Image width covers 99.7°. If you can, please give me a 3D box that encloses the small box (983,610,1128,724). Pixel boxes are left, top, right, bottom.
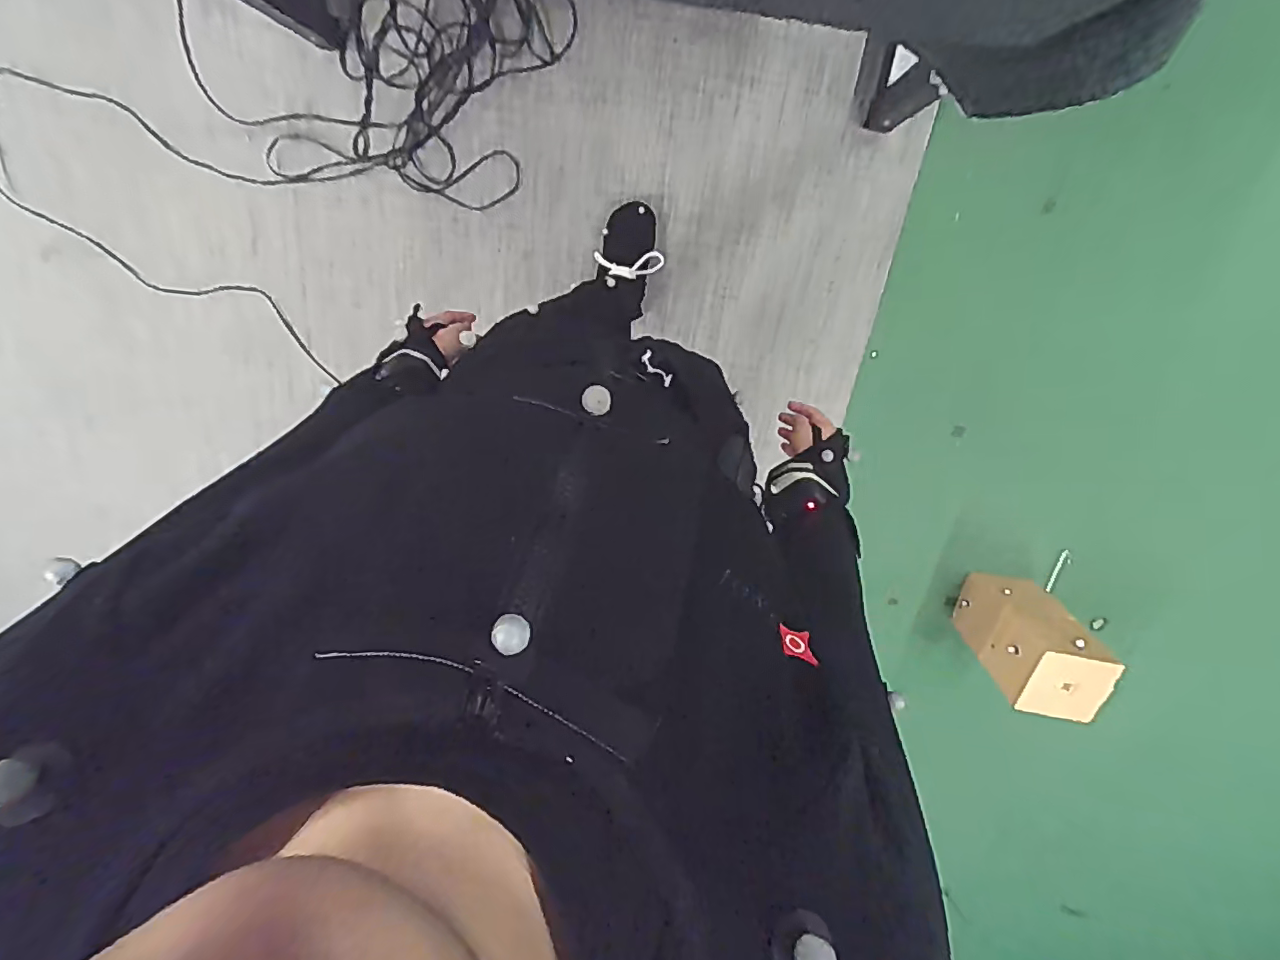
[{"bbox_3d":[0.938,0.421,1.243,0.179,0.176,0.168,10,112,0],"label":"small box"}]
